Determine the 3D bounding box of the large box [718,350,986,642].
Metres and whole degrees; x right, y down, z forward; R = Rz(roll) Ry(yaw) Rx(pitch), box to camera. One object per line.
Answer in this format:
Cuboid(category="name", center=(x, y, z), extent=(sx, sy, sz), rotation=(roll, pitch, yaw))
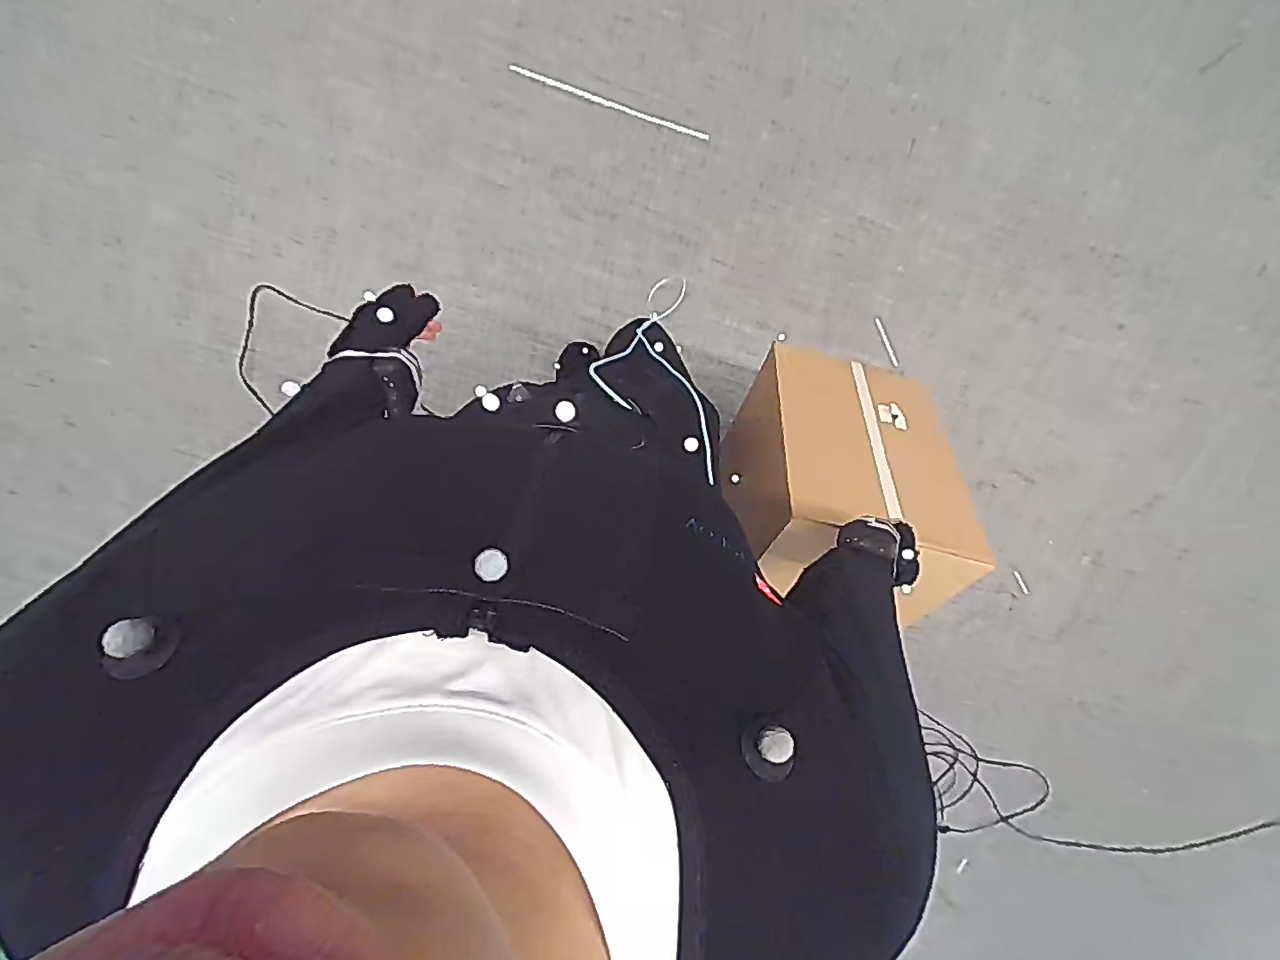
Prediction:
Cuboid(category="large box", center=(0.337, 0.034, 0.998), extent=(0.320, 0.408, 0.320), rotation=(14, 139, -7))
